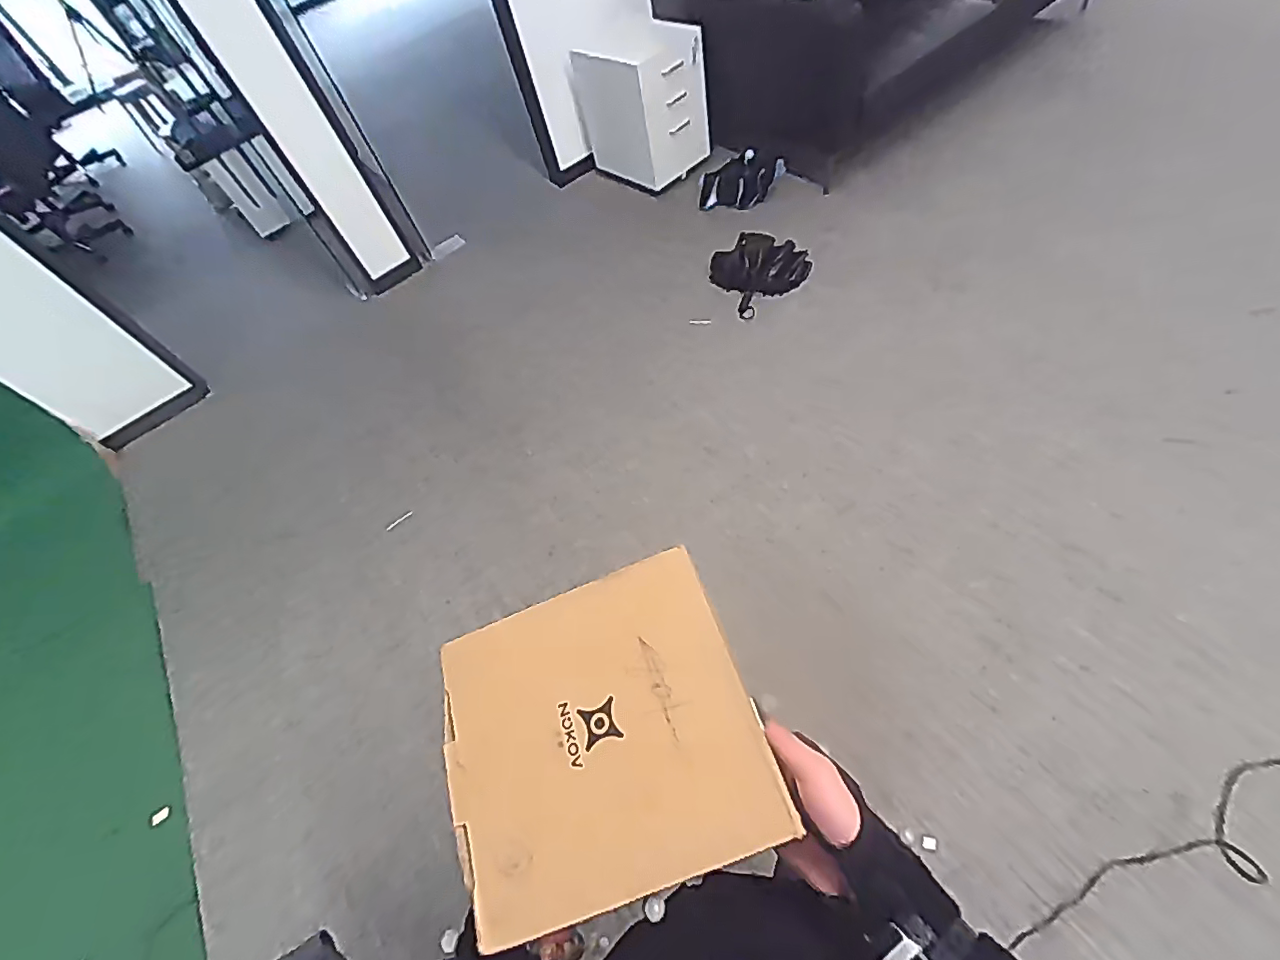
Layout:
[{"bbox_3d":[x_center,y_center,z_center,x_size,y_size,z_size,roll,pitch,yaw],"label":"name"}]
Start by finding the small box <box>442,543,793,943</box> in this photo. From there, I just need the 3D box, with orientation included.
[{"bbox_3d":[-0.007,0.175,0.377,0.179,0.176,0.168,-24,59,2],"label":"small box"}]
